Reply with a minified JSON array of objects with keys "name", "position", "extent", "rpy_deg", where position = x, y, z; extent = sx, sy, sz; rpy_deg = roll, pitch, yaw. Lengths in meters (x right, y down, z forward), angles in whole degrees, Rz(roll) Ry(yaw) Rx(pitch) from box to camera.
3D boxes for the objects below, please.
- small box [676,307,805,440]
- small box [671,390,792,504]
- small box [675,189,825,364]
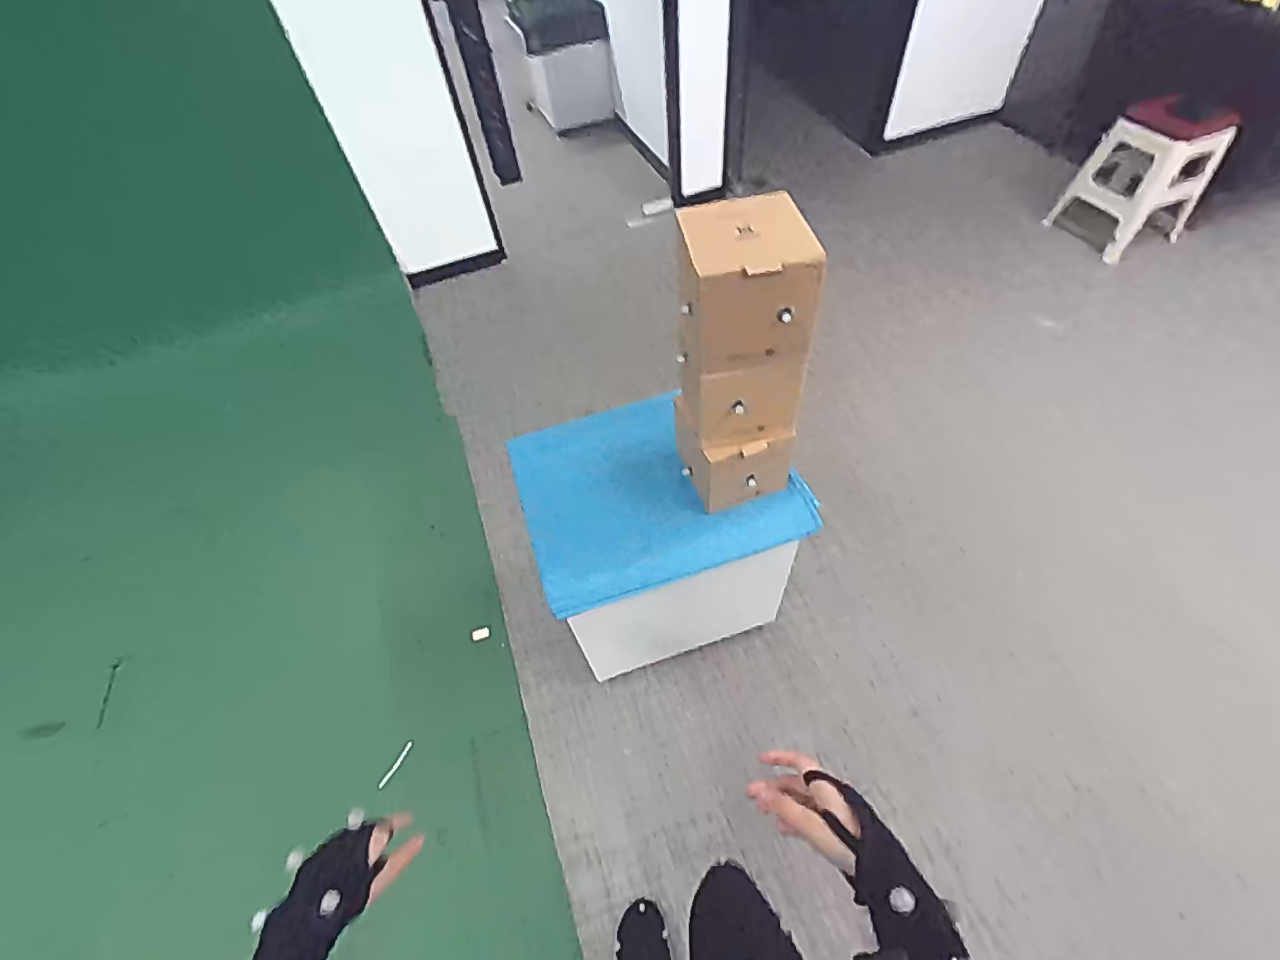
[{"name":"small box","position":[0.160,-0.184,0.906],"extent":[0.168,0.176,0.179],"rpy_deg":[-11,52,-2]},{"name":"small box","position":[0.167,-0.073,1.026],"extent":[0.168,0.176,0.179],"rpy_deg":[-18,55,-8]},{"name":"small box","position":[0.147,-0.283,0.777],"extent":[0.168,0.176,0.179],"rpy_deg":[-9,52,-1]}]
